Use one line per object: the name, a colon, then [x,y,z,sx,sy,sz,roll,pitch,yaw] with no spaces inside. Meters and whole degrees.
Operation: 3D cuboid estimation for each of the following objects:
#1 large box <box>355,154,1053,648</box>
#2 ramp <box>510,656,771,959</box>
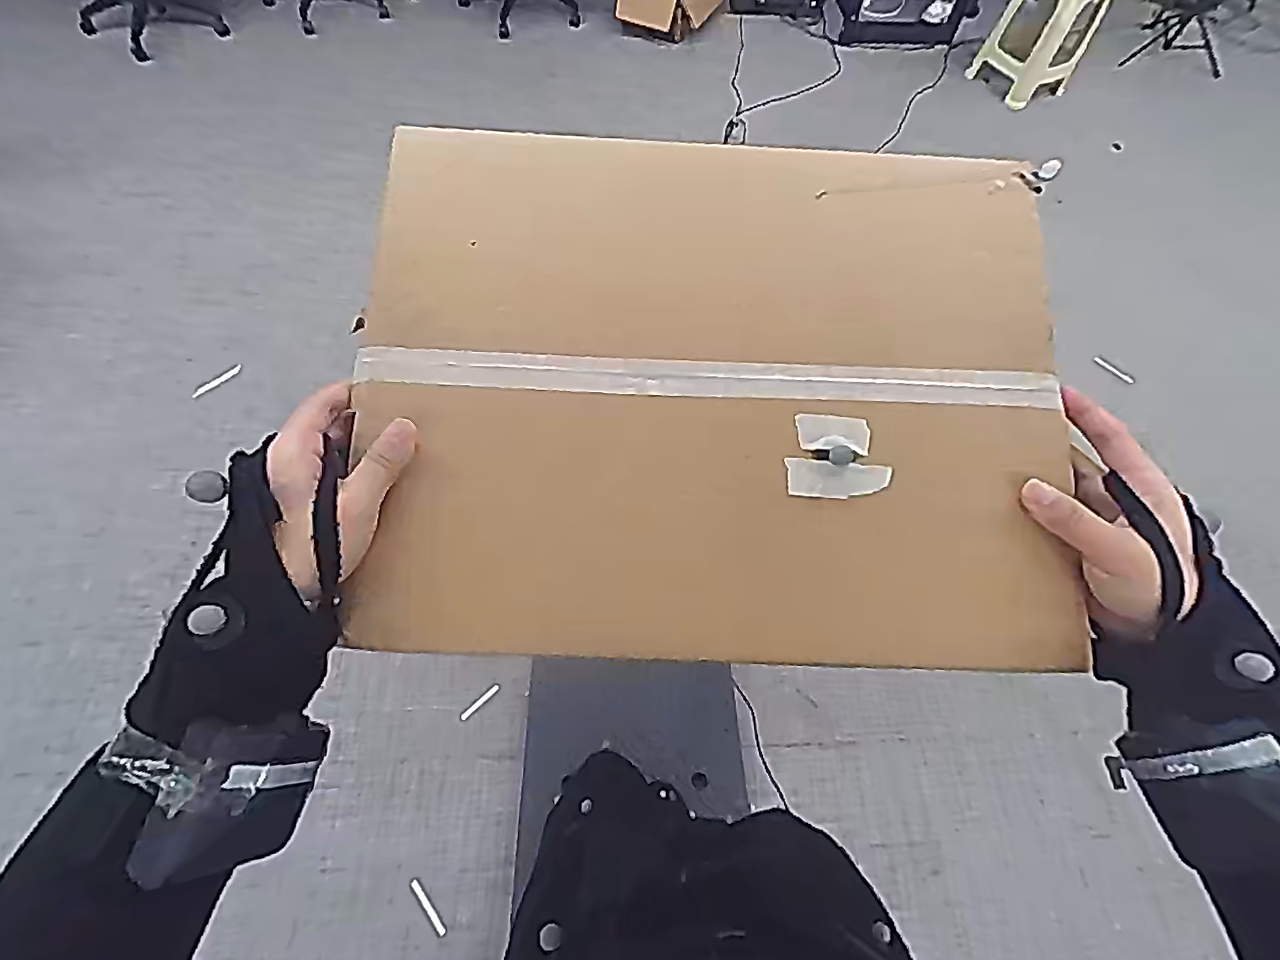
large box: [0.036,-0.031,0.476,0.408,0.320,0.320,2,80,-2]
ramp: [-0.002,0.842,1.049,0.509,0.206,0.991,-3,62,-1]
